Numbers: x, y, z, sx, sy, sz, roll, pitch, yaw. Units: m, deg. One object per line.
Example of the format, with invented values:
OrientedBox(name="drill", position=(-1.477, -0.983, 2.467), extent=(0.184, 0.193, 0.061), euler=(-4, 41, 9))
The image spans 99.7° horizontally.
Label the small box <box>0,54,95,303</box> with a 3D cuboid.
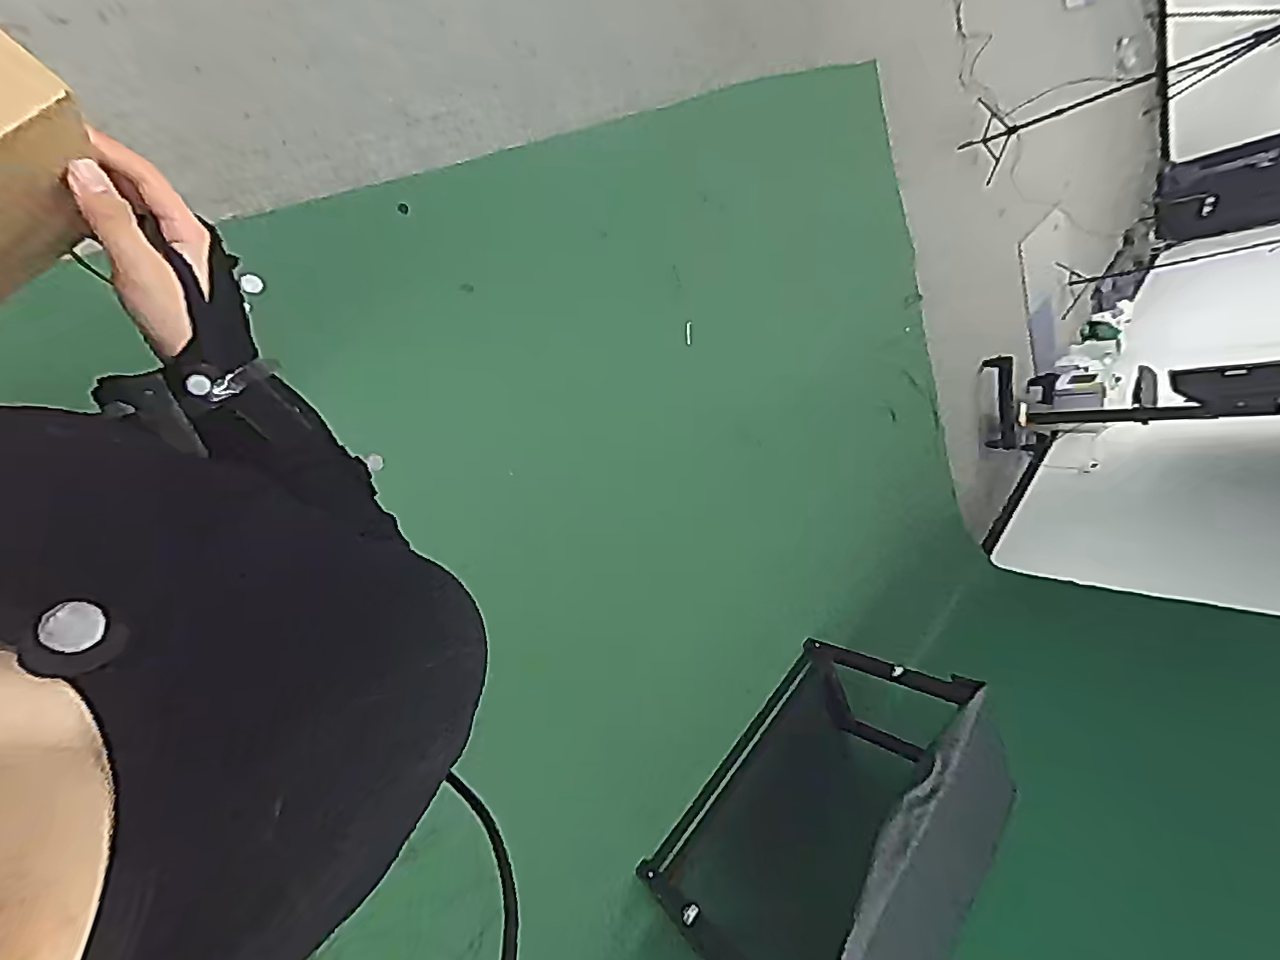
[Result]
OrientedBox(name="small box", position=(-0.390, -0.147, 0.226), extent=(0.168, 0.176, 0.179), euler=(44, 68, -34))
